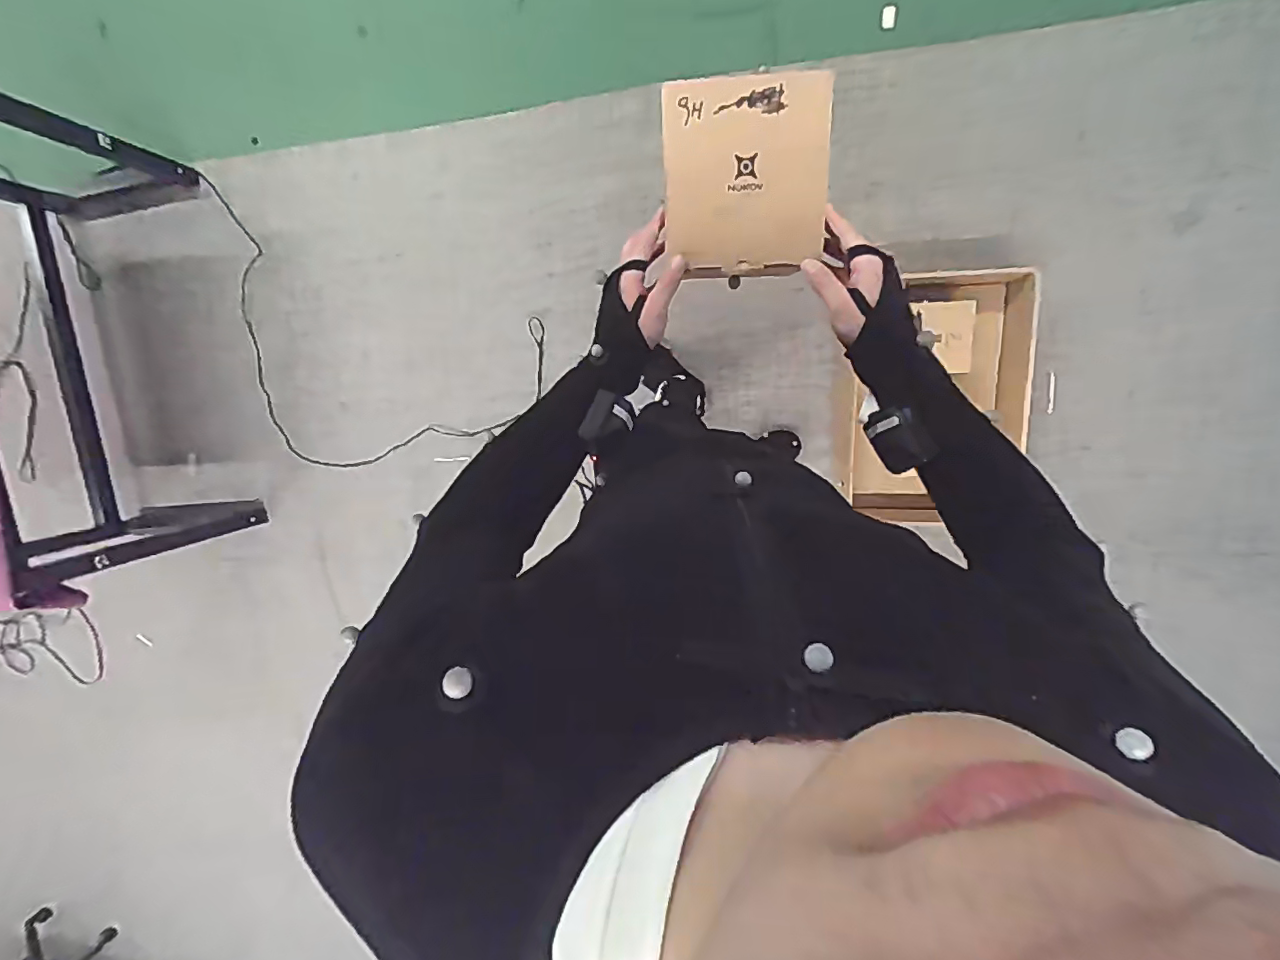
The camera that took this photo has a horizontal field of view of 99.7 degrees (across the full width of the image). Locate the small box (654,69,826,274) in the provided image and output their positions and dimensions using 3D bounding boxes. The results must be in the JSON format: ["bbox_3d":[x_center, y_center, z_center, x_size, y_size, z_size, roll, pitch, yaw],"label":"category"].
[{"bbox_3d":[0.104,-0.332,0.618,0.168,0.176,0.179,-1,108,5],"label":"small box"}]
